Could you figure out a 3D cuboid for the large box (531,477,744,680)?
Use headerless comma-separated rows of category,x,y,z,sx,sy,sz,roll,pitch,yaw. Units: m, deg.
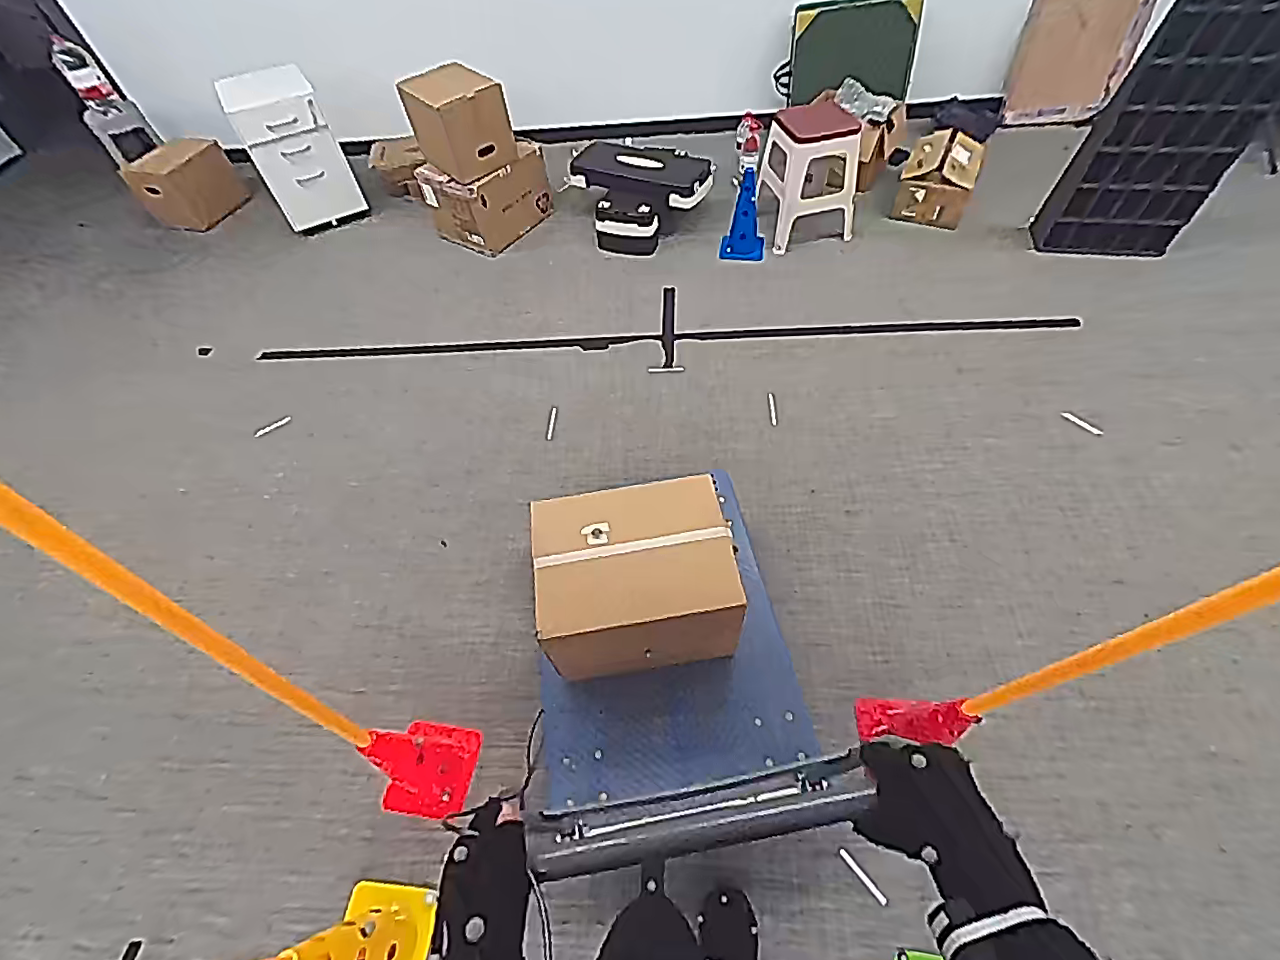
large box,-0.007,0.233,1.228,0.408,0.320,0.320,-10,55,-1

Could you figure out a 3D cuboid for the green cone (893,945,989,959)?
green cone,0.577,0.905,0.867,0.202,0.368,0.200,3,54,6

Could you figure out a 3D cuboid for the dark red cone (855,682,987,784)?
dark red cone,0.615,0.503,1.135,0.201,0.394,0.202,1,54,3

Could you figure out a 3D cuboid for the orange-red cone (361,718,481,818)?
orange-red cone,-0.515,0.596,1.187,0.198,0.360,0.199,6,53,8
